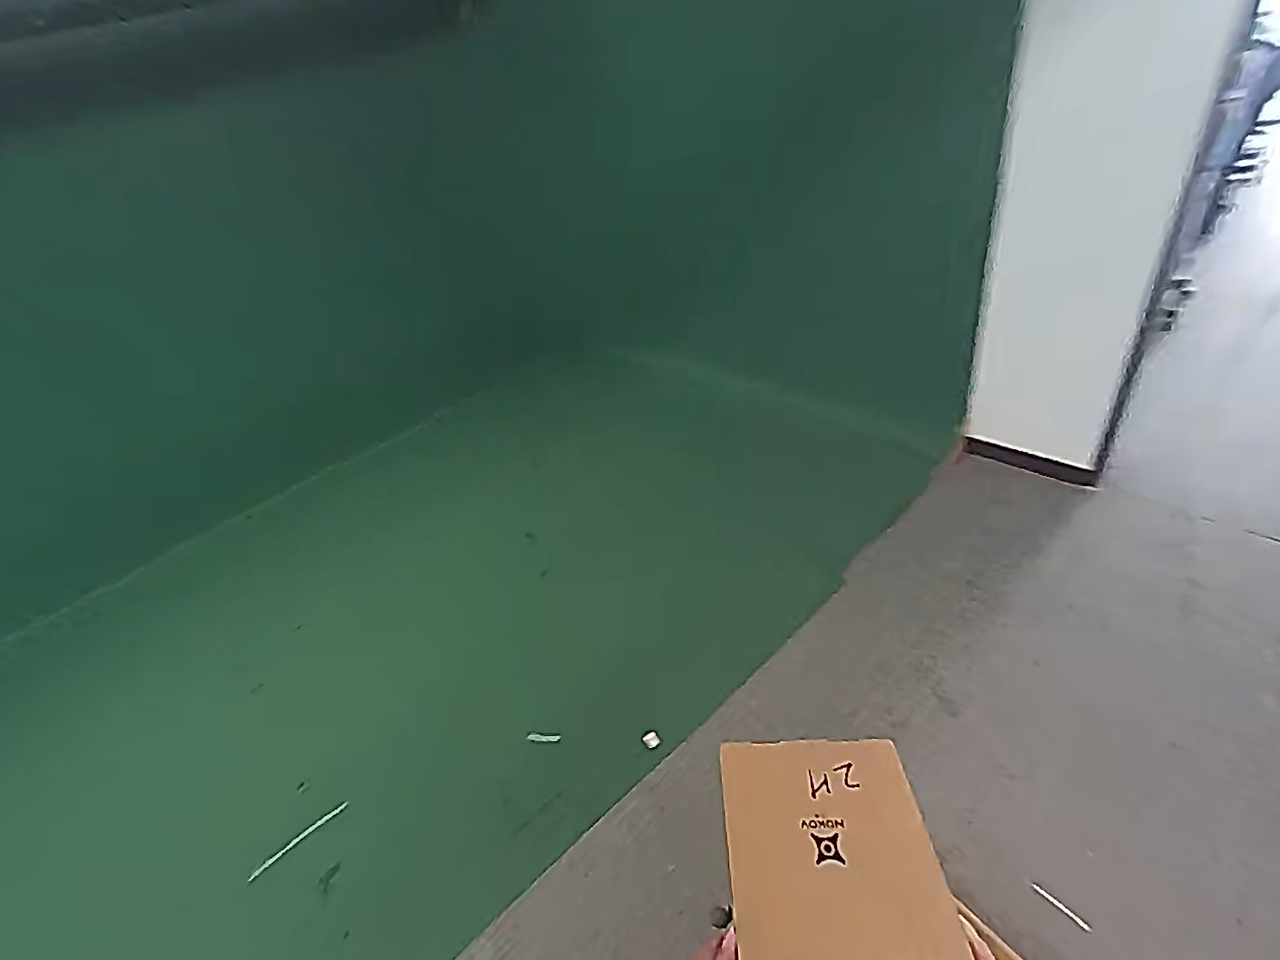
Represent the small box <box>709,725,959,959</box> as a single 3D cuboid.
[{"bbox_3d":[0.153,0.352,0.491,0.168,0.176,0.179,-3,32,4],"label":"small box"}]
